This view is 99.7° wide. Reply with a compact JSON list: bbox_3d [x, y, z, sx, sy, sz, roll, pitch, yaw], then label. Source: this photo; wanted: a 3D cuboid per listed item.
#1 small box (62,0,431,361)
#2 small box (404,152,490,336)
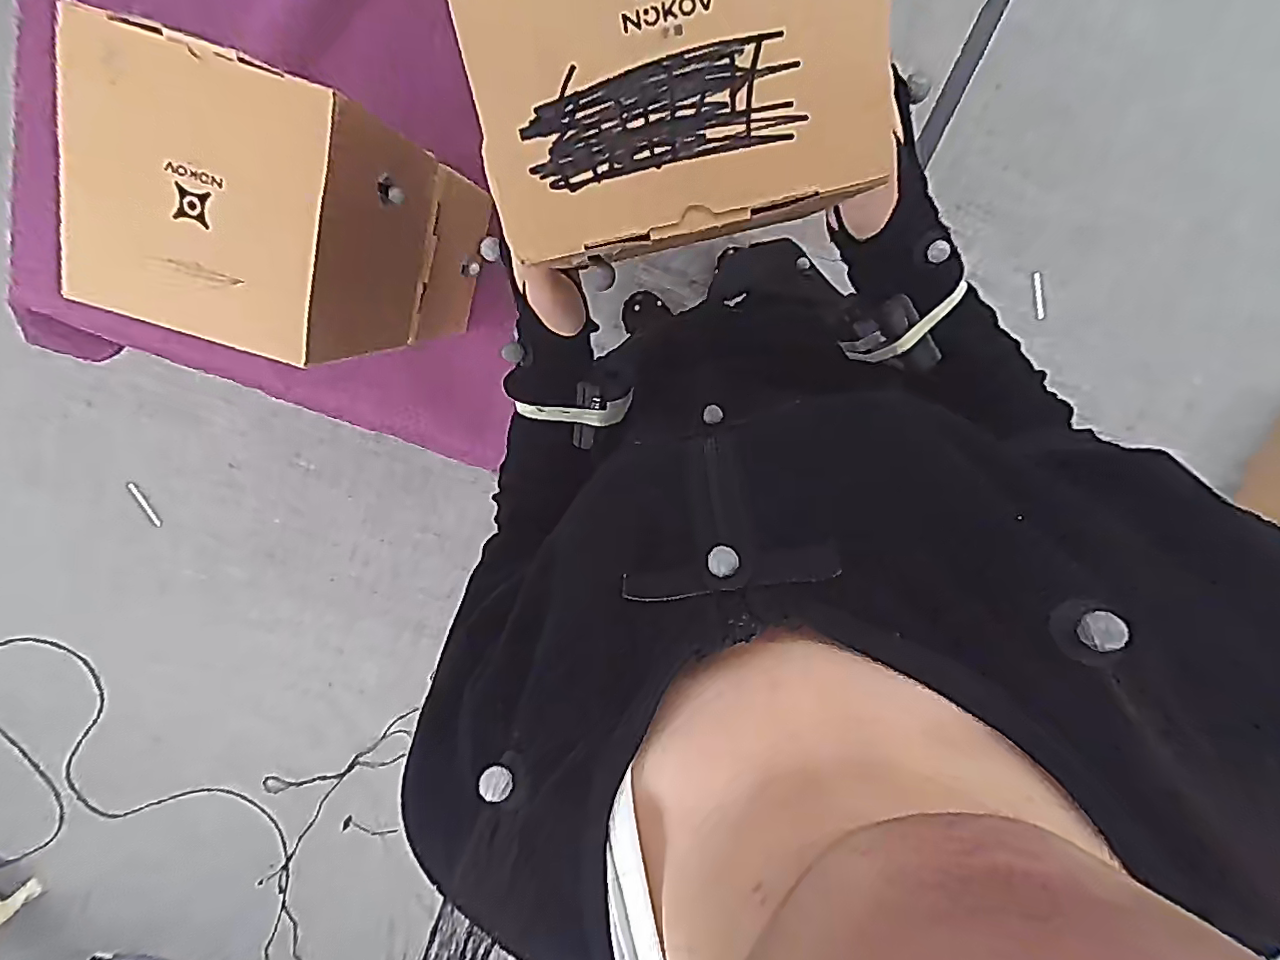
[{"bbox_3d":[-0.283,-0.211,0.425,0.168,0.176,0.179,16,109,-4],"label":"small box"},{"bbox_3d":[-0.282,-0.264,0.577,0.179,0.176,0.168,17,108,-6],"label":"small box"}]
